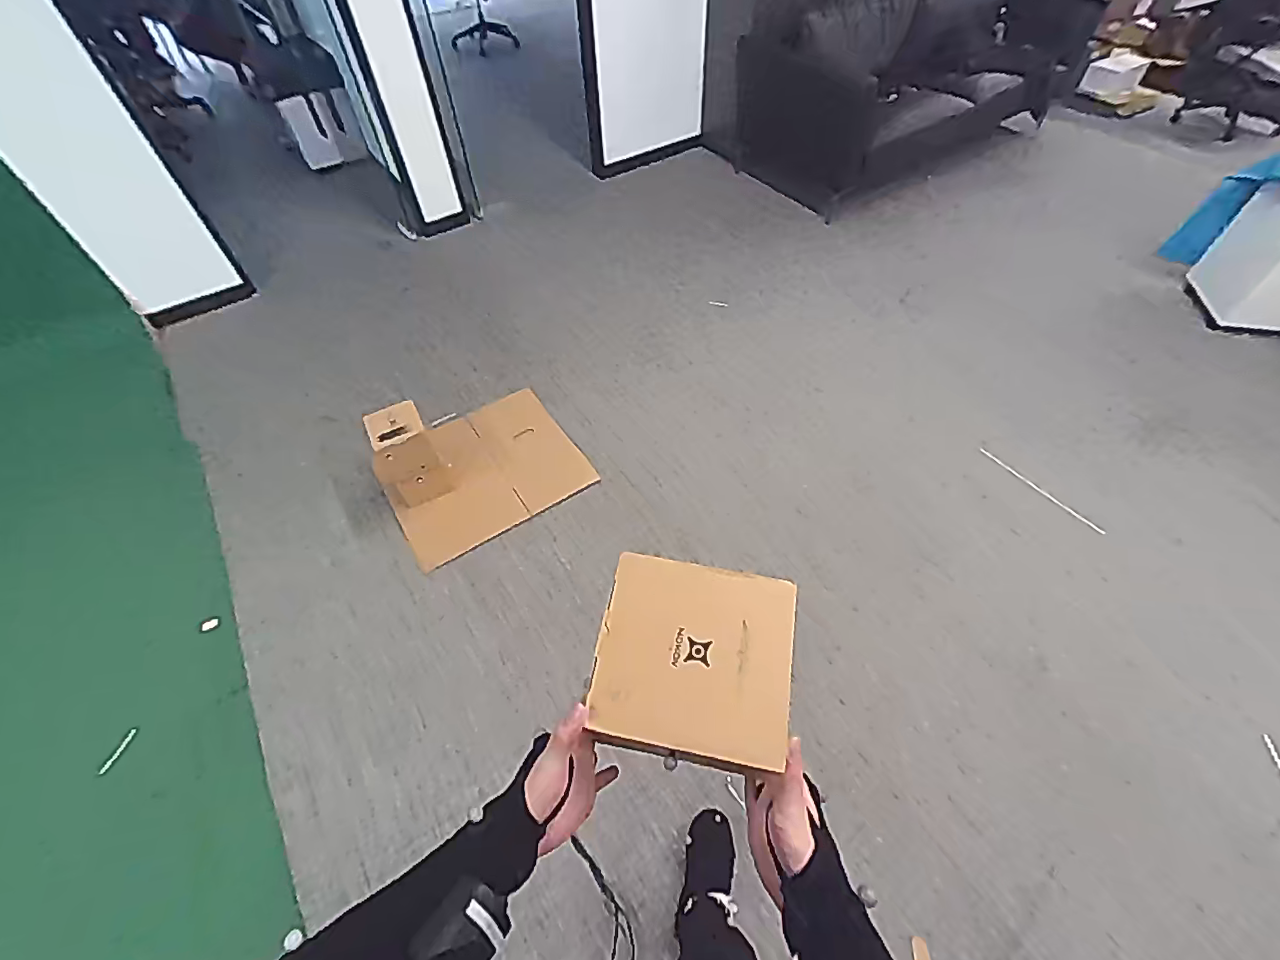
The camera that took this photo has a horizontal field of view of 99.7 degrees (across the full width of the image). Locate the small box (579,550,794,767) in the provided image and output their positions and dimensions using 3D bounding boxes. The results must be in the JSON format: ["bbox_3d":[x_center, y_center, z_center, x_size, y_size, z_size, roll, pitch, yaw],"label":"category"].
[{"bbox_3d":[0.051,0.192,0.563,0.179,0.176,0.168,9,62,7],"label":"small box"}]

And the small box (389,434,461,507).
[{"bbox_3d":[-0.777,-0.032,1.965,0.179,0.176,0.168,-25,56,-16],"label":"small box"}]
